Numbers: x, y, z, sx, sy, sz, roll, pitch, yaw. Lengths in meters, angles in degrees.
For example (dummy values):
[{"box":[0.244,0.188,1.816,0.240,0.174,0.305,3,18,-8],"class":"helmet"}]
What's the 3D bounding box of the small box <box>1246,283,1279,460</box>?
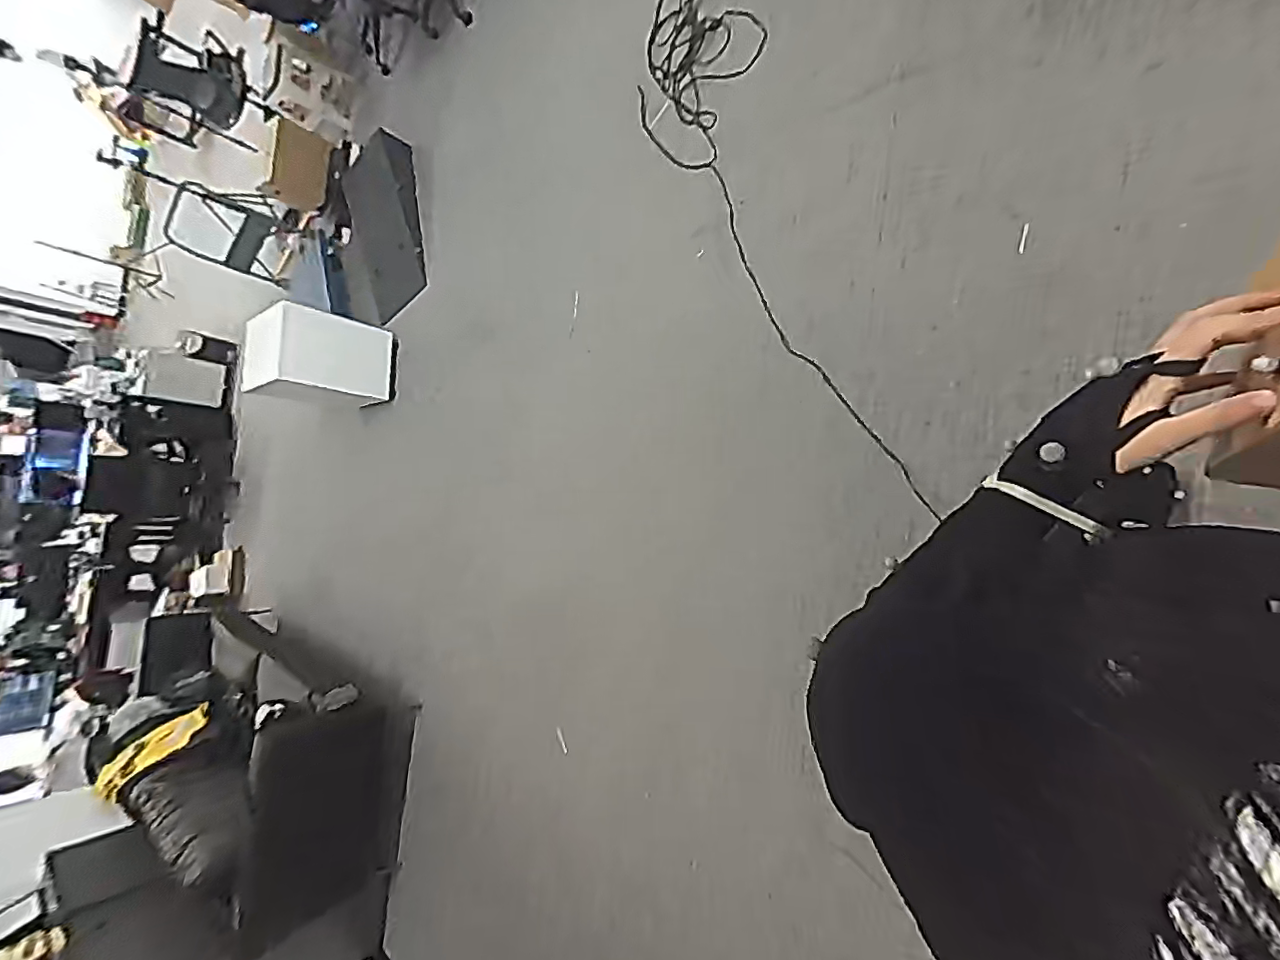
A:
[{"box":[0.501,-0.101,0.305,0.168,0.176,0.179,14,87,36],"class":"small box"}]
